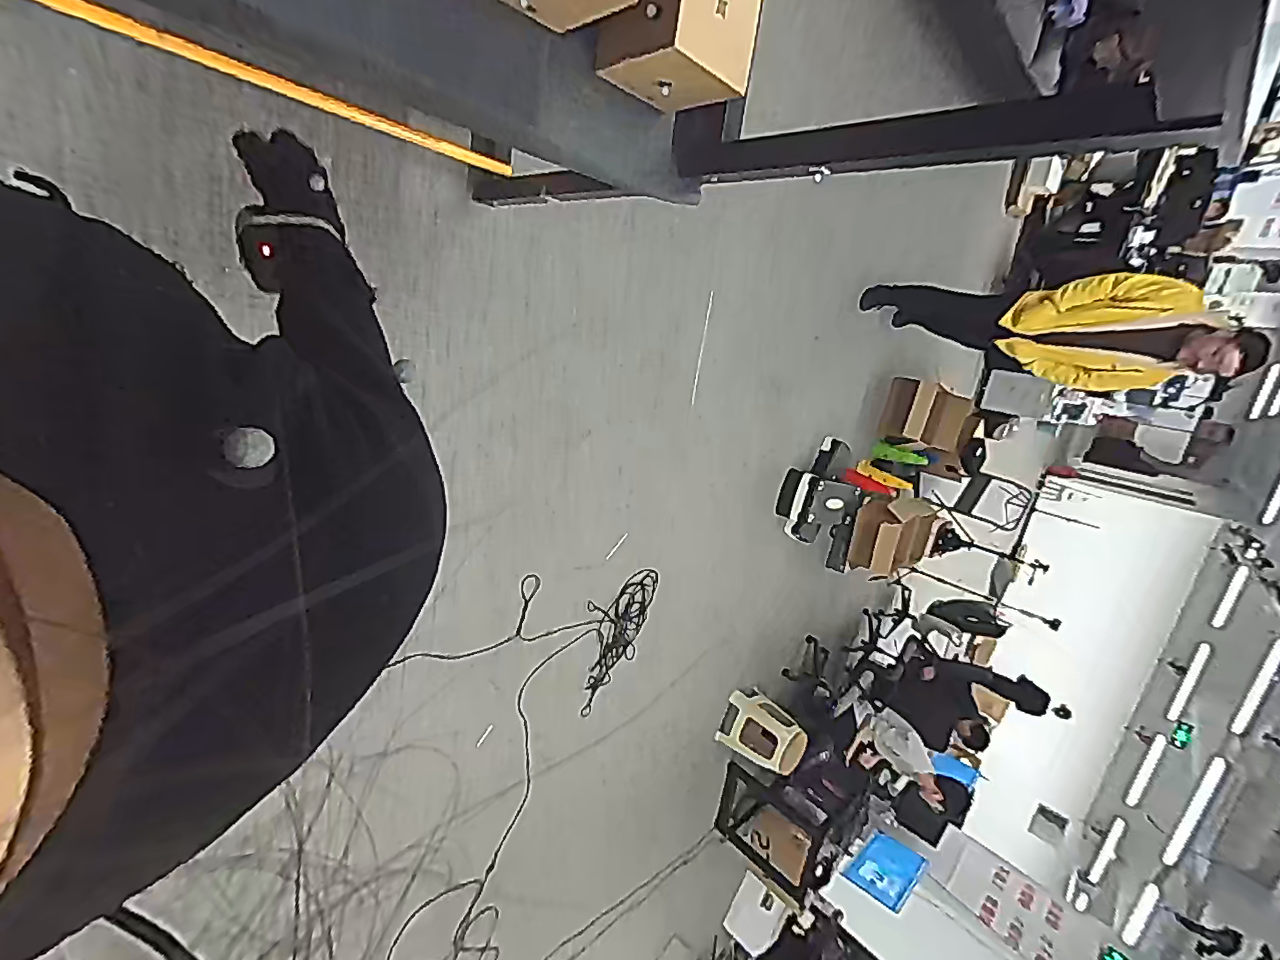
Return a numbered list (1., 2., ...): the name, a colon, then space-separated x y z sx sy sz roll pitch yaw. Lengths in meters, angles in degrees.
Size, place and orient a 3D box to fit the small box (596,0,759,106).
1. small box: 0.053 -0.687 0.801 0.168 0.176 0.179 -8 113 -45
